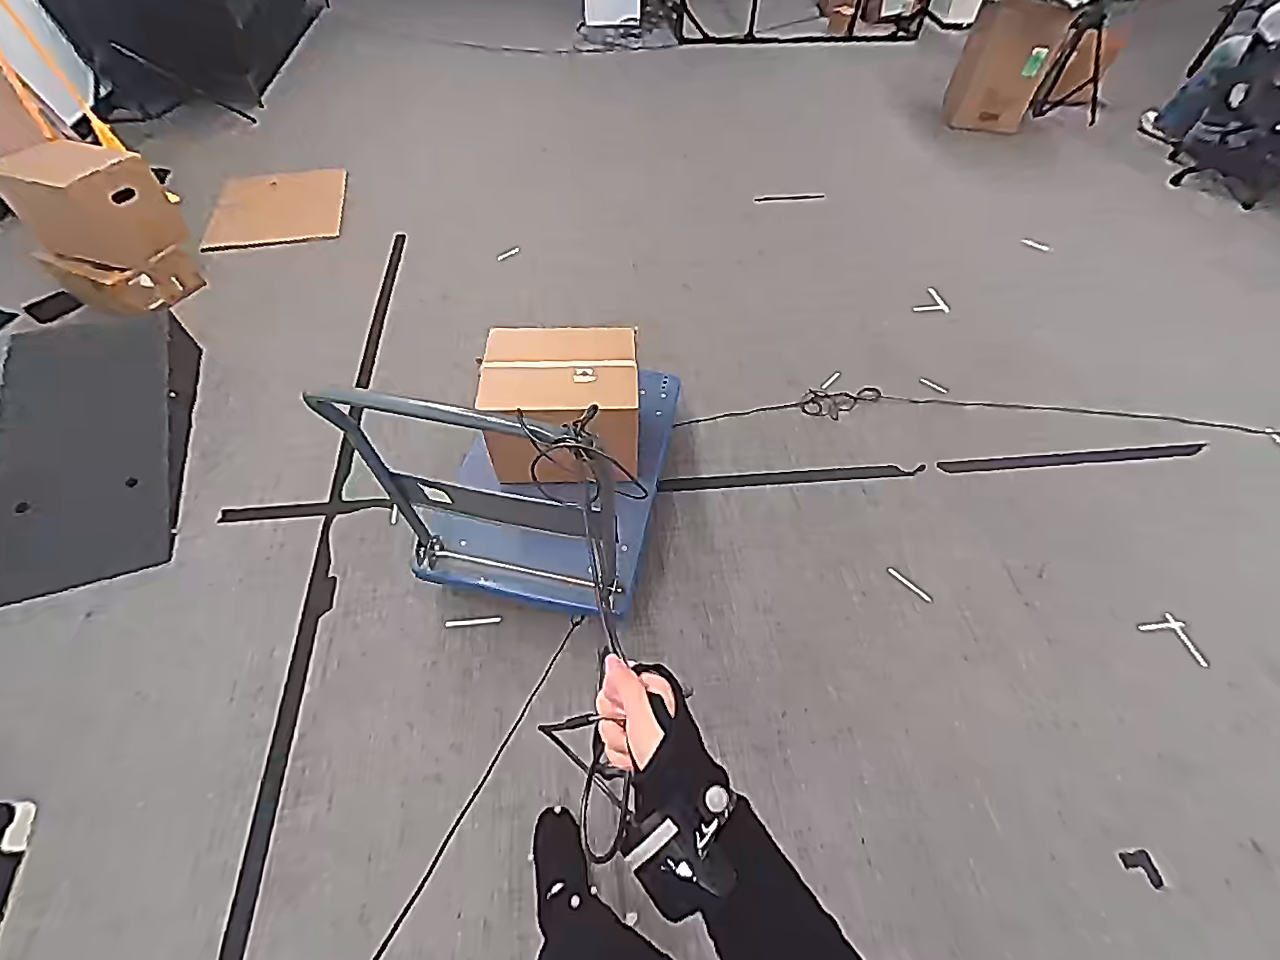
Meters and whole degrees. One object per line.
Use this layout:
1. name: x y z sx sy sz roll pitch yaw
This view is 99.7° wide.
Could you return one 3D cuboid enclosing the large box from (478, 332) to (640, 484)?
1. large box: -0.213 -0.201 1.533 0.408 0.320 0.320 -1 54 -3
